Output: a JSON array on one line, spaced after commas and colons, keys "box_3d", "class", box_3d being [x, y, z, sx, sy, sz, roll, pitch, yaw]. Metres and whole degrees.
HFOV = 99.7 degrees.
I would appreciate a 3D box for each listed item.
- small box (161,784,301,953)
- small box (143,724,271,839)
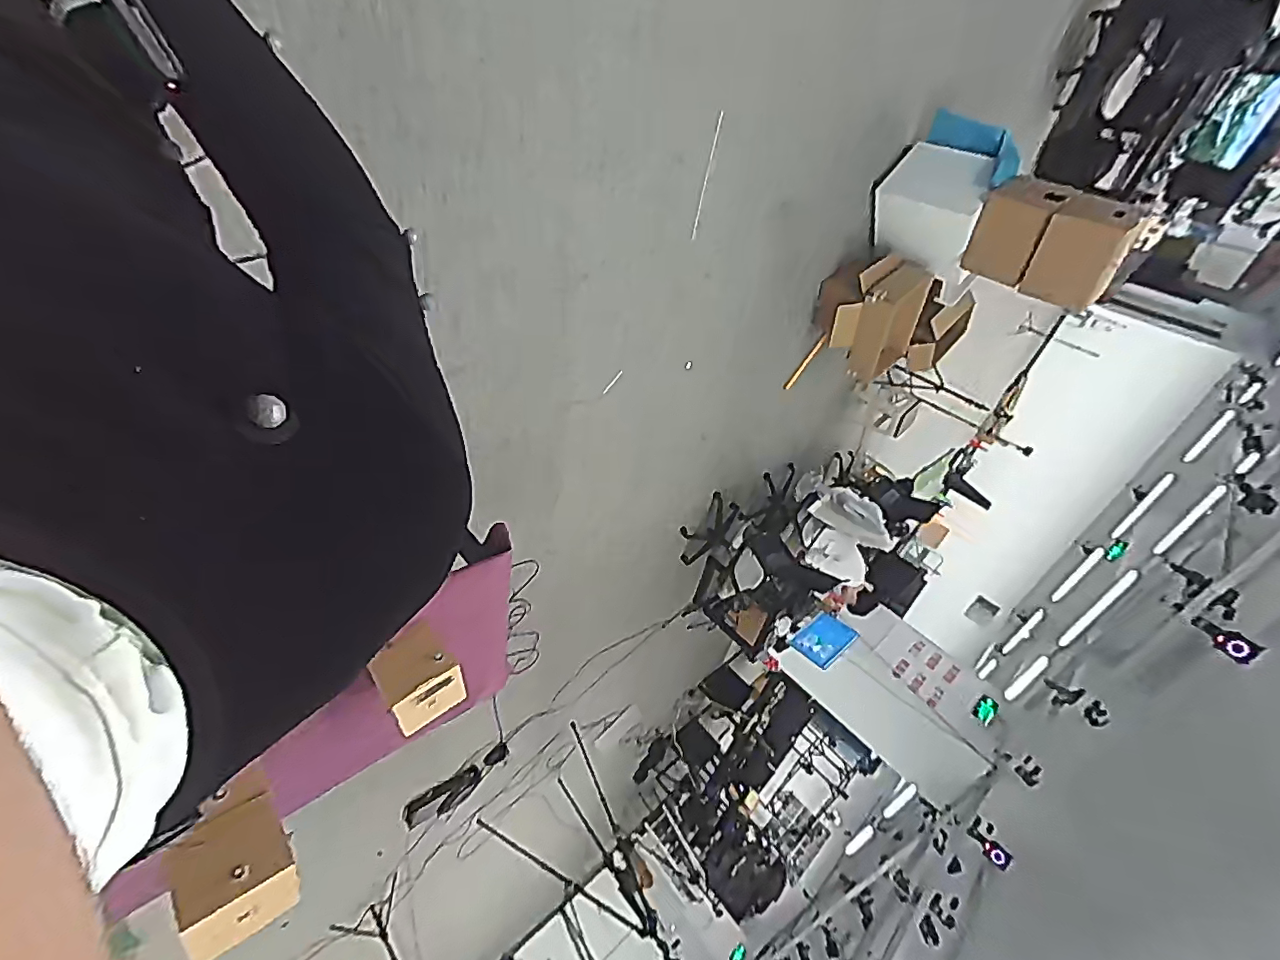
[{"box_3d": [-0.784, 0.736, 1.043, 0.179, 0.176, 0.168, -16, 134, -44], "class": "small box"}, {"box_3d": [-0.894, 0.650, 1.127, 0.179, 0.176, 0.168, -15, 134, -44], "class": "small box"}]
